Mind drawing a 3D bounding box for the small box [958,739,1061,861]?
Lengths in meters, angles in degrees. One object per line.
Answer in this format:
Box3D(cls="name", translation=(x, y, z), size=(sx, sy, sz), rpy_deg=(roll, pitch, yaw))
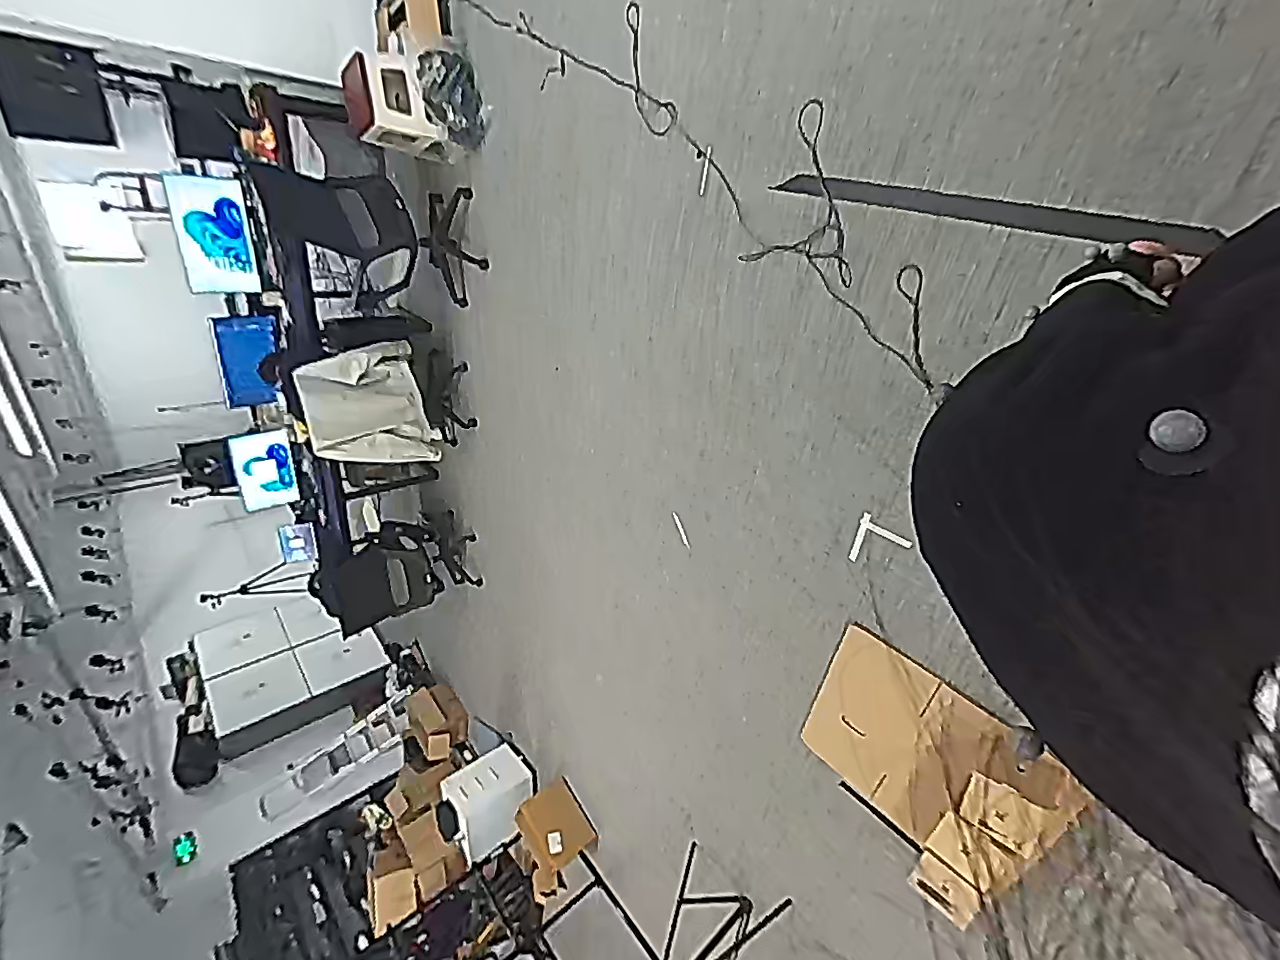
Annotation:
Box3D(cls="small box", translation=(0.969, 0.825, 1.414), size=(0.168, 0.176, 0.179), rpy_deg=(24, 121, 42))
